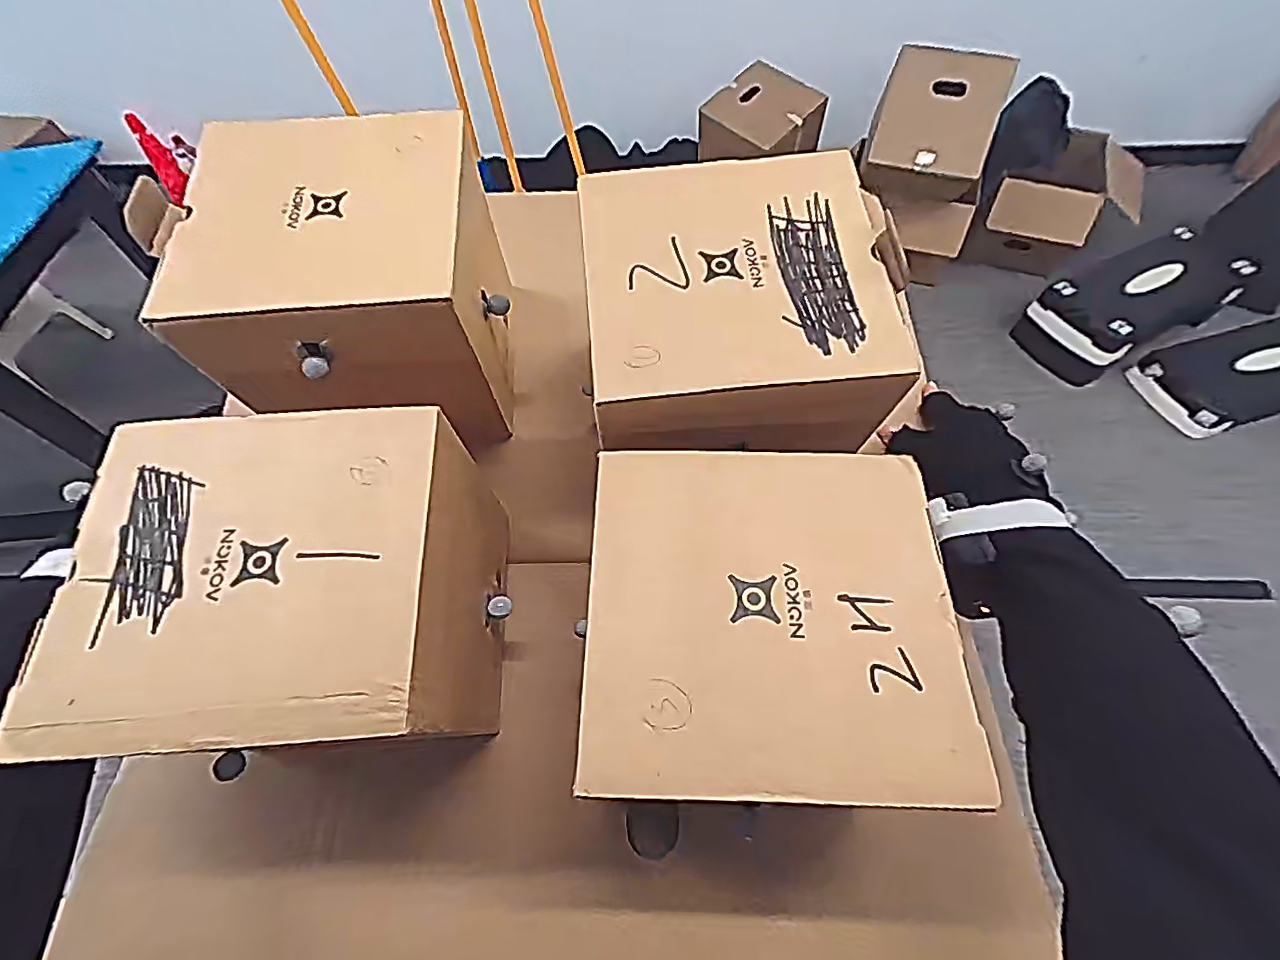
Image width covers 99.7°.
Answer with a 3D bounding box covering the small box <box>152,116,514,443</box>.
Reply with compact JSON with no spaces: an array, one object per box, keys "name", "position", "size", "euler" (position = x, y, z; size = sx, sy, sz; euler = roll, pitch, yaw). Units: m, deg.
[{"name":"small box","position":[-0.200,-0.141,0.417],"size":[0.179,0.176,0.168],"euler":[-4,66,-1]}]
